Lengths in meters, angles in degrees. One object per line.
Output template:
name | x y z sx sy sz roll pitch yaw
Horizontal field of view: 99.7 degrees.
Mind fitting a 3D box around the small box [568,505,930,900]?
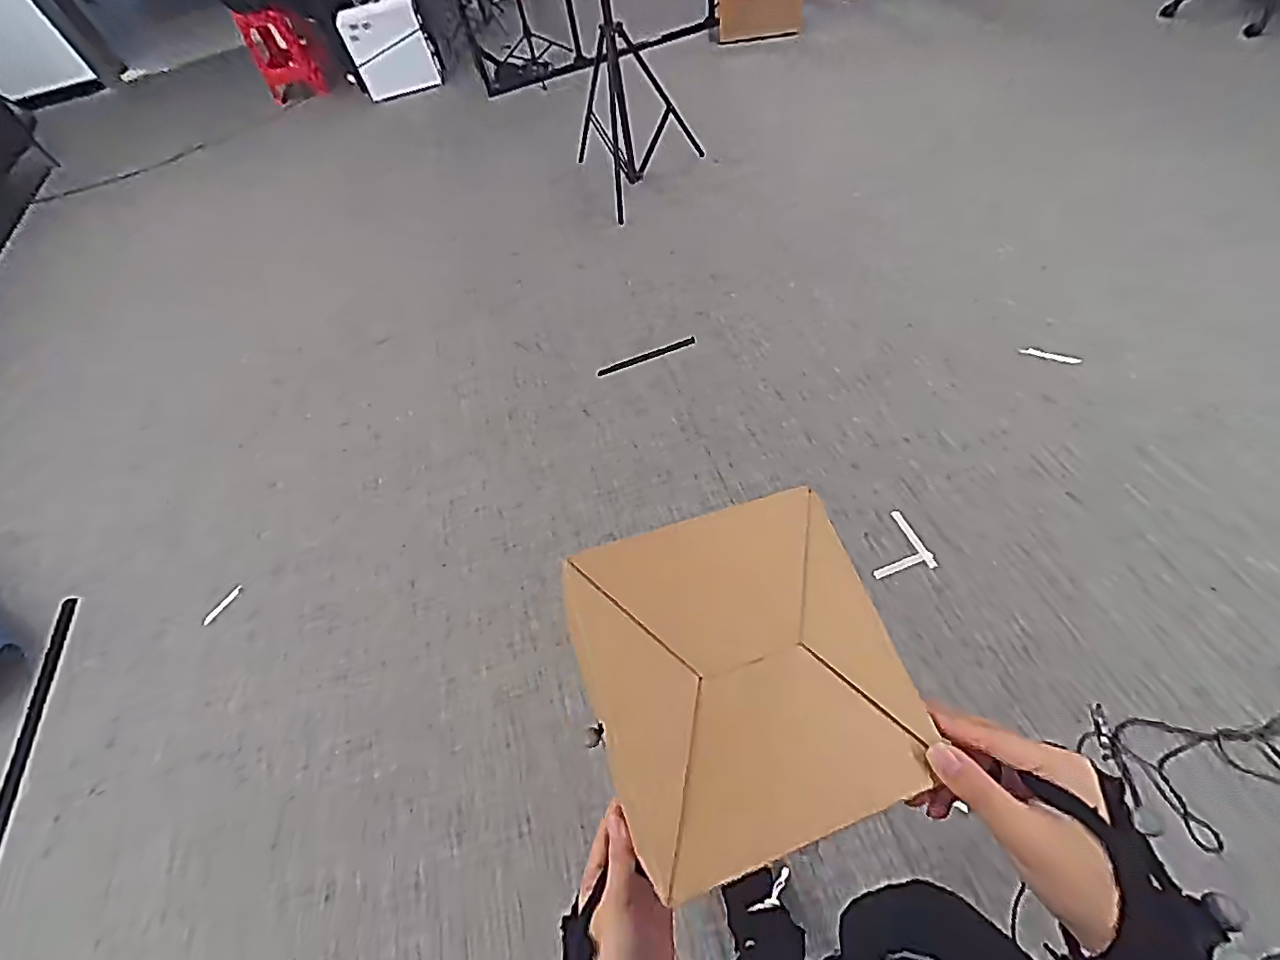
small box | 0.053 0.137 0.369 0.168 0.176 0.179 -14 66 -13
